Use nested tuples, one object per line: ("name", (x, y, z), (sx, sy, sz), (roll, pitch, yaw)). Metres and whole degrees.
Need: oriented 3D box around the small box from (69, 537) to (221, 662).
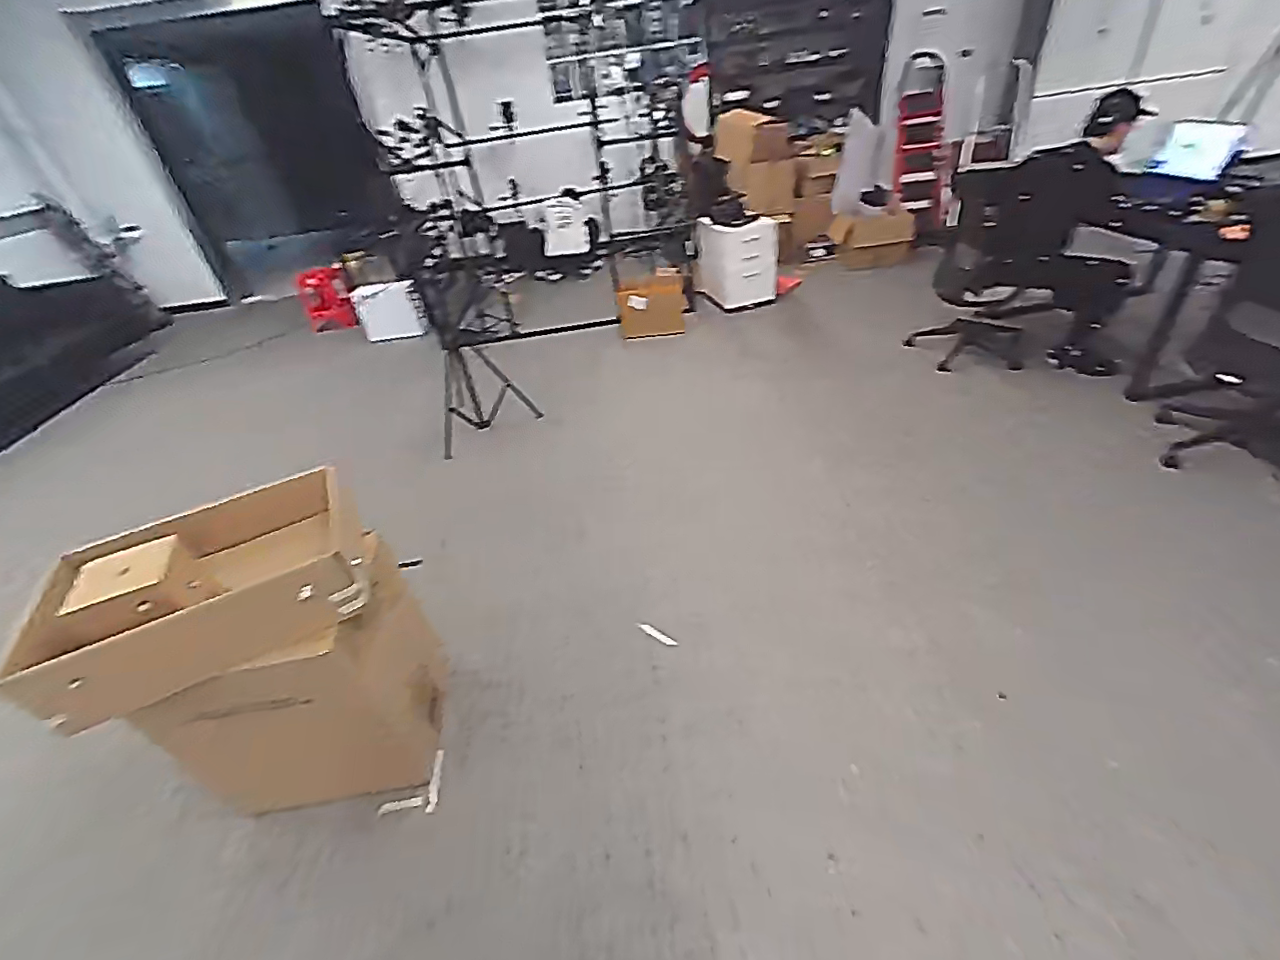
("small box", (-1.074, 0.263, 1.196), (0.179, 0.176, 0.168), (-21, 39, -16))
